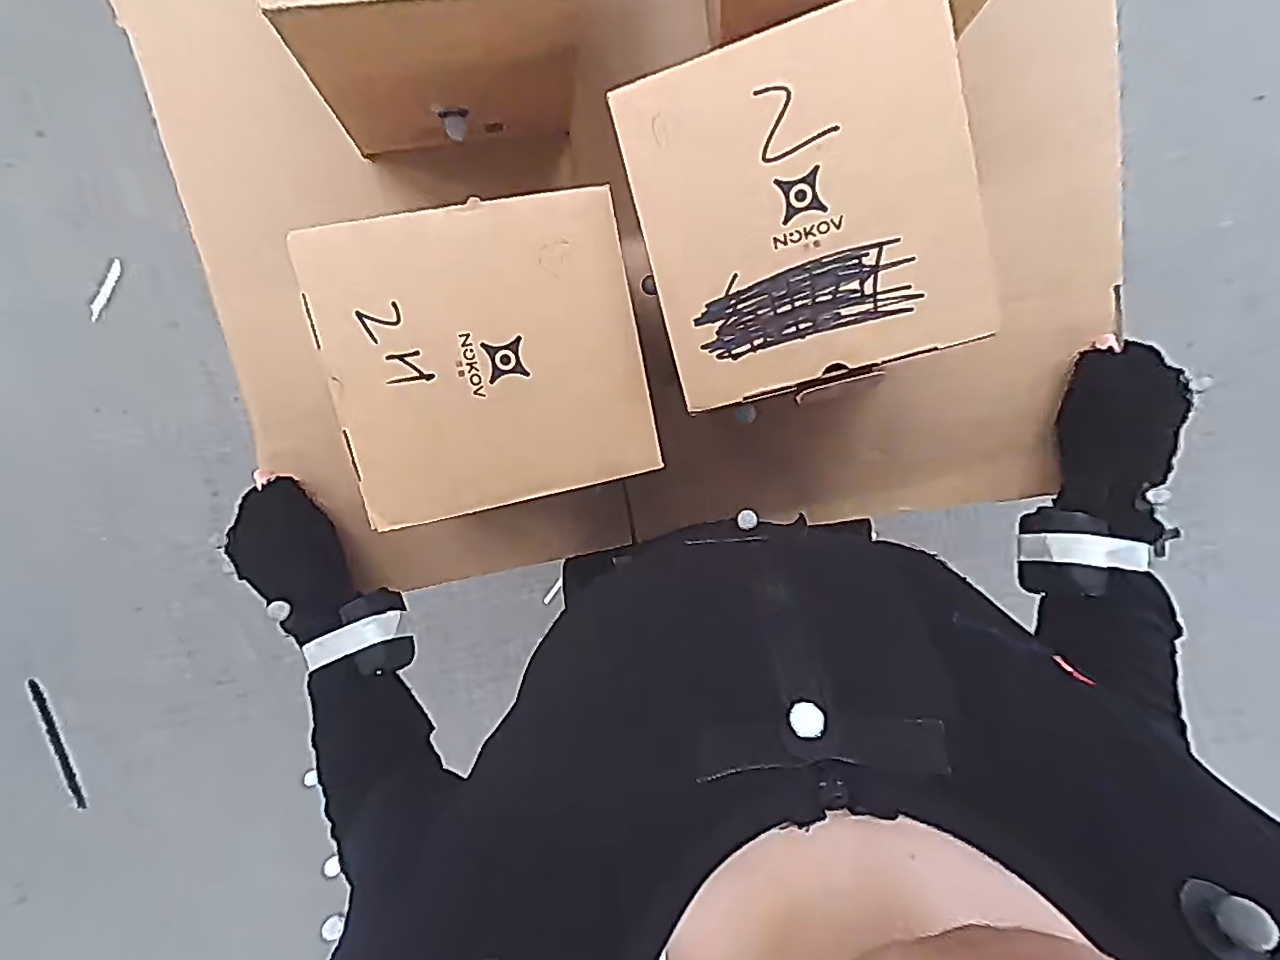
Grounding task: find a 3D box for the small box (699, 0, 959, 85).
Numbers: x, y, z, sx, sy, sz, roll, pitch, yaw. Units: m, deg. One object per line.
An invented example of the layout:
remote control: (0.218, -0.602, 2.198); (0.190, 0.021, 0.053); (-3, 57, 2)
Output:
small box: (0.113, -0.370, 0.315); (0.168, 0.176, 0.179); (-6, 100, 9)
